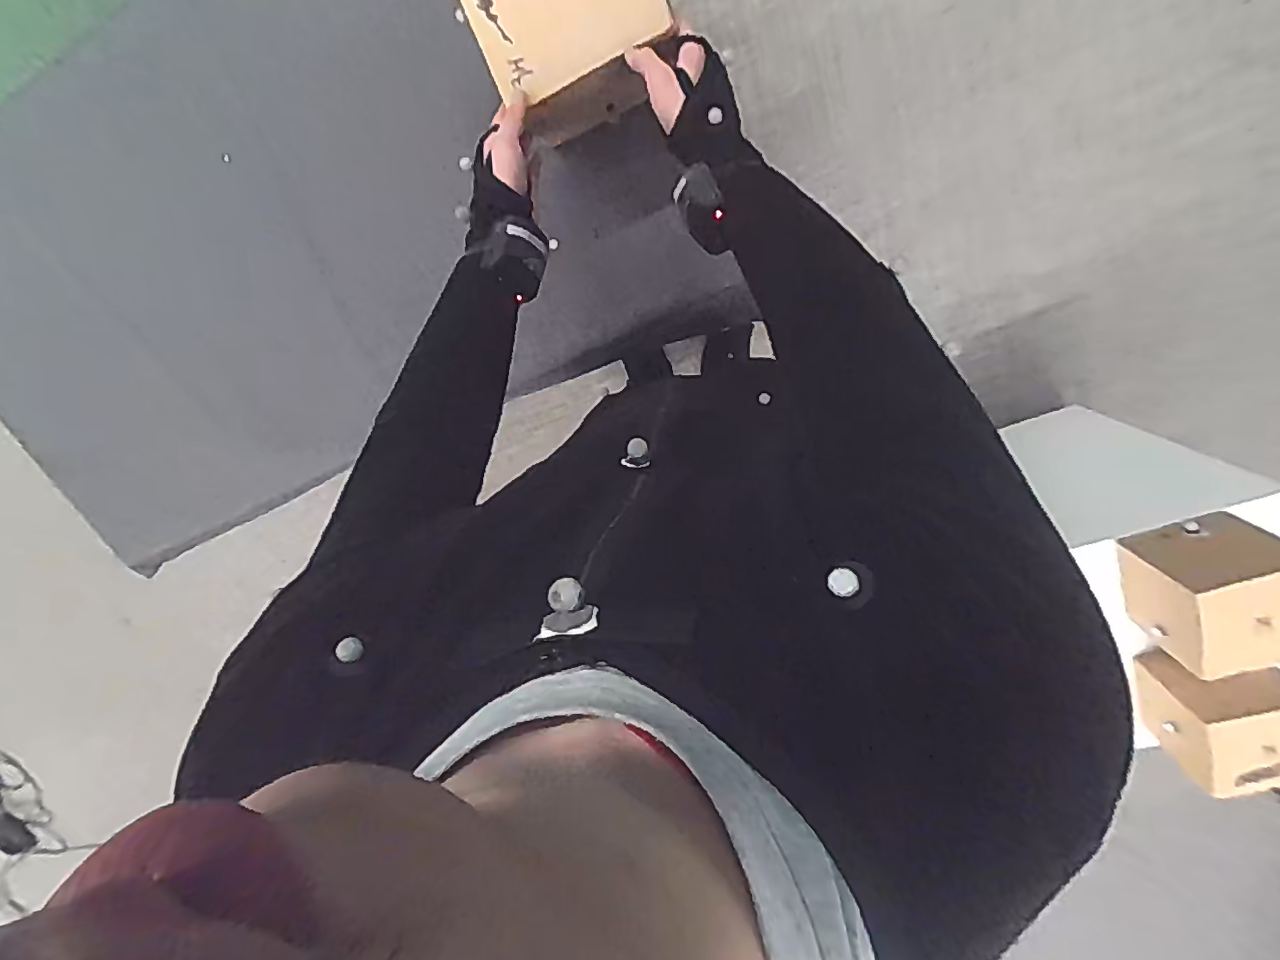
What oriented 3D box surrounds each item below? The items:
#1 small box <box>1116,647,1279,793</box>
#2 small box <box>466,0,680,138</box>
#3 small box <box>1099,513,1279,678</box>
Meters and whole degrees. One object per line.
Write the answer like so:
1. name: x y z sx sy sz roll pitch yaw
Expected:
1. small box: 1.004 0.413 0.966 0.168 0.176 0.179 -20 108 11
2. small box: -0.069 -0.480 0.543 0.179 0.176 0.168 -19 109 11
3. small box: 0.903 0.182 0.883 0.168 0.176 0.179 -22 109 11
